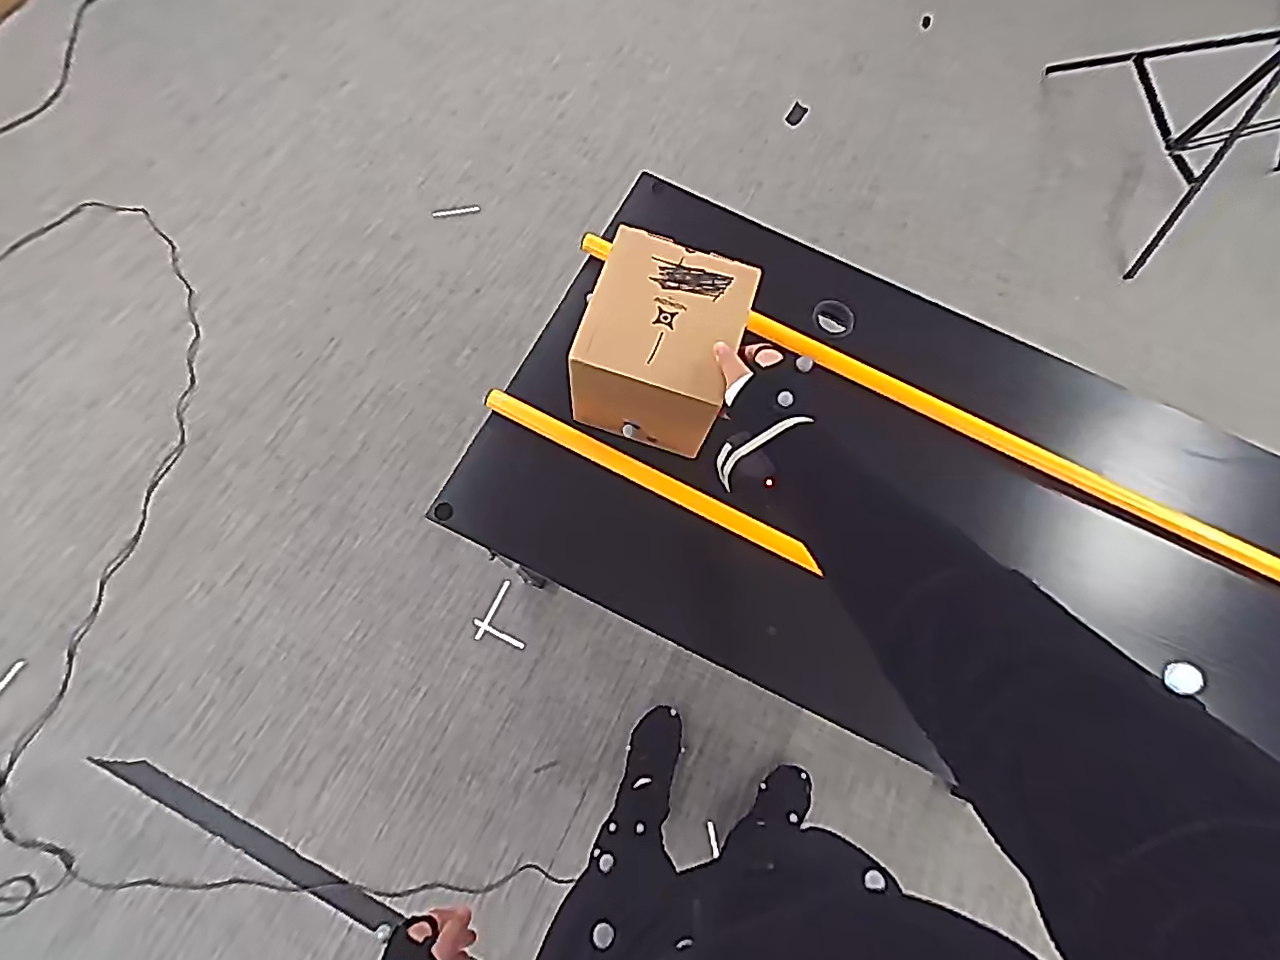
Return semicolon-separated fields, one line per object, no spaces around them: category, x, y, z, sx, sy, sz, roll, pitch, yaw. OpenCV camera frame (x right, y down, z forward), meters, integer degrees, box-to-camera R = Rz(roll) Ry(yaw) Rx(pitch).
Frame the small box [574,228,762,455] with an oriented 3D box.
small box;0.027;-0.154;0.649;0.168;0.176;0.179;18;74;1
